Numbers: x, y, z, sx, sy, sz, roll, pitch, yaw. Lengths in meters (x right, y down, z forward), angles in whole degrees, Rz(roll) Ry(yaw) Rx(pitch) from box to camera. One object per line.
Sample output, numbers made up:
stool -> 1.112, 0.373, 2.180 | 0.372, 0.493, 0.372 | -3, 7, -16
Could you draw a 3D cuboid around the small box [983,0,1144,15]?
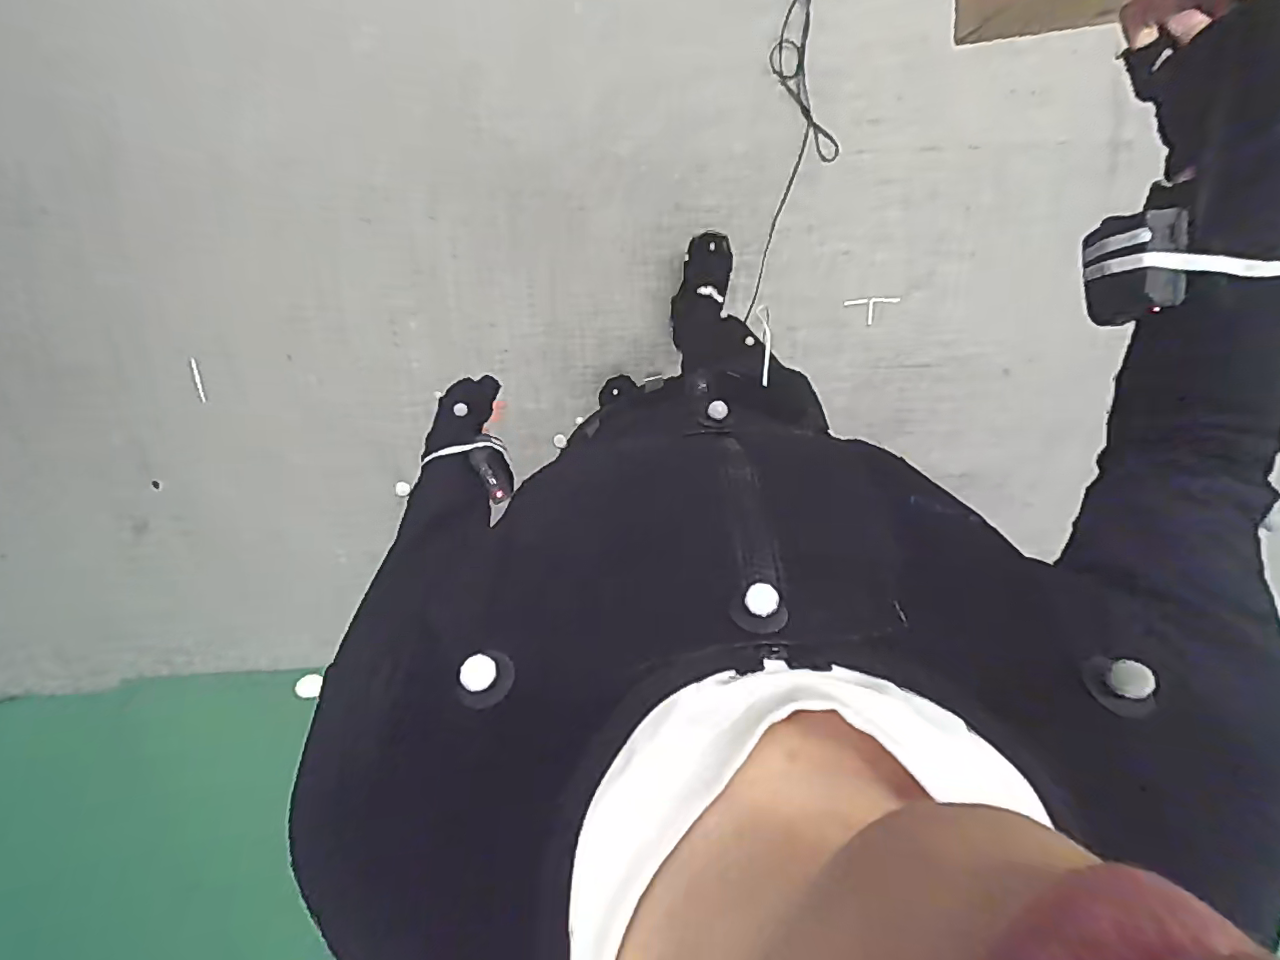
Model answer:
small box -> 0.328, -0.419, 0.322 | 0.168, 0.176, 0.179 | -10, 109, -3
